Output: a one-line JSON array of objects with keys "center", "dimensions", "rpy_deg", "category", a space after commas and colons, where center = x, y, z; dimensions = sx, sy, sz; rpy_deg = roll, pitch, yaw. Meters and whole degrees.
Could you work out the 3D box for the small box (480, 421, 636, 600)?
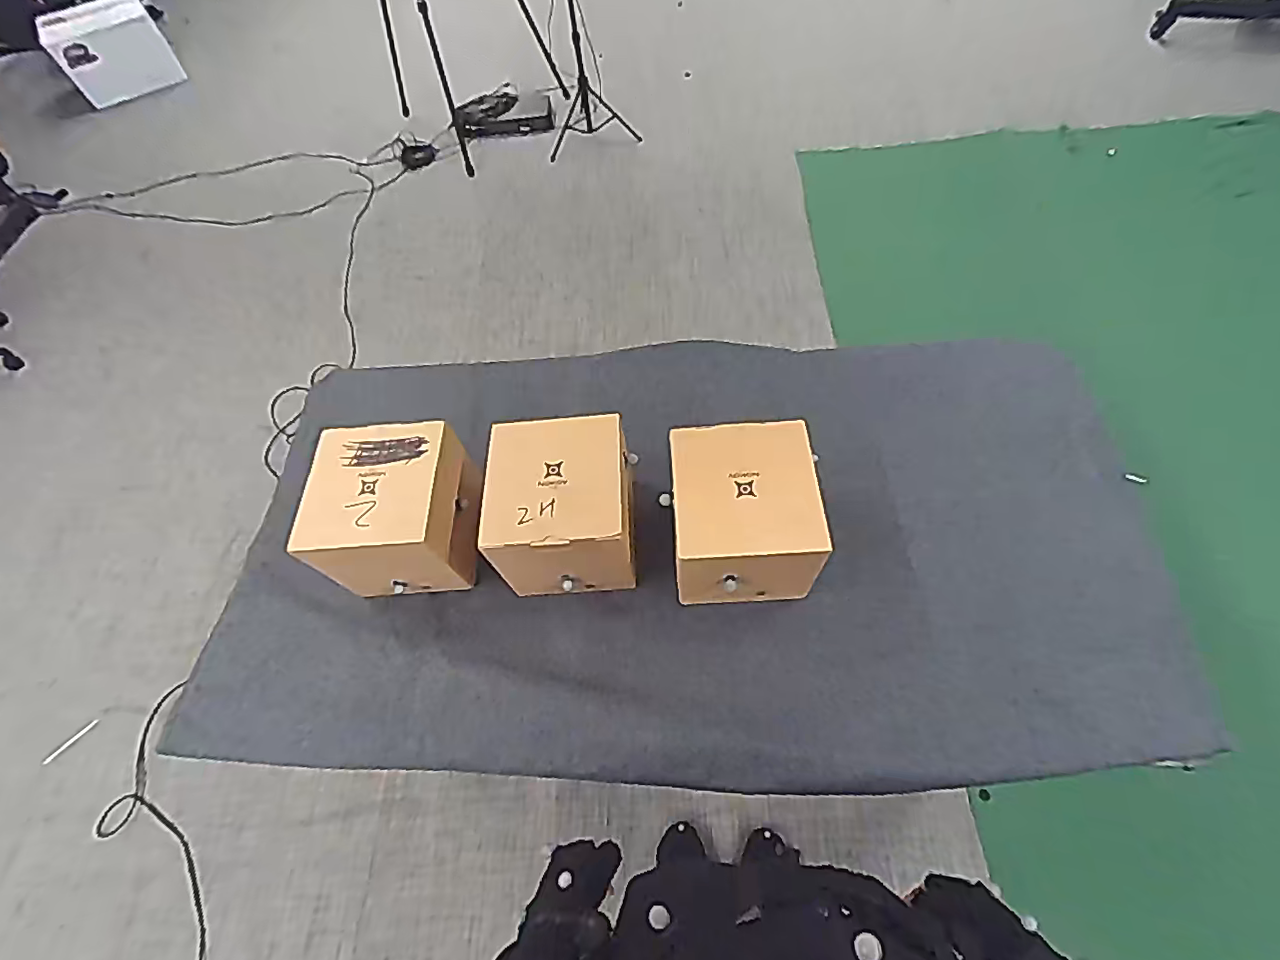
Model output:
[{"center": [-0.095, 0.045, 0.714], "dimensions": [0.168, 0.176, 0.179], "rpy_deg": [-4, 59, 3], "category": "small box"}]
